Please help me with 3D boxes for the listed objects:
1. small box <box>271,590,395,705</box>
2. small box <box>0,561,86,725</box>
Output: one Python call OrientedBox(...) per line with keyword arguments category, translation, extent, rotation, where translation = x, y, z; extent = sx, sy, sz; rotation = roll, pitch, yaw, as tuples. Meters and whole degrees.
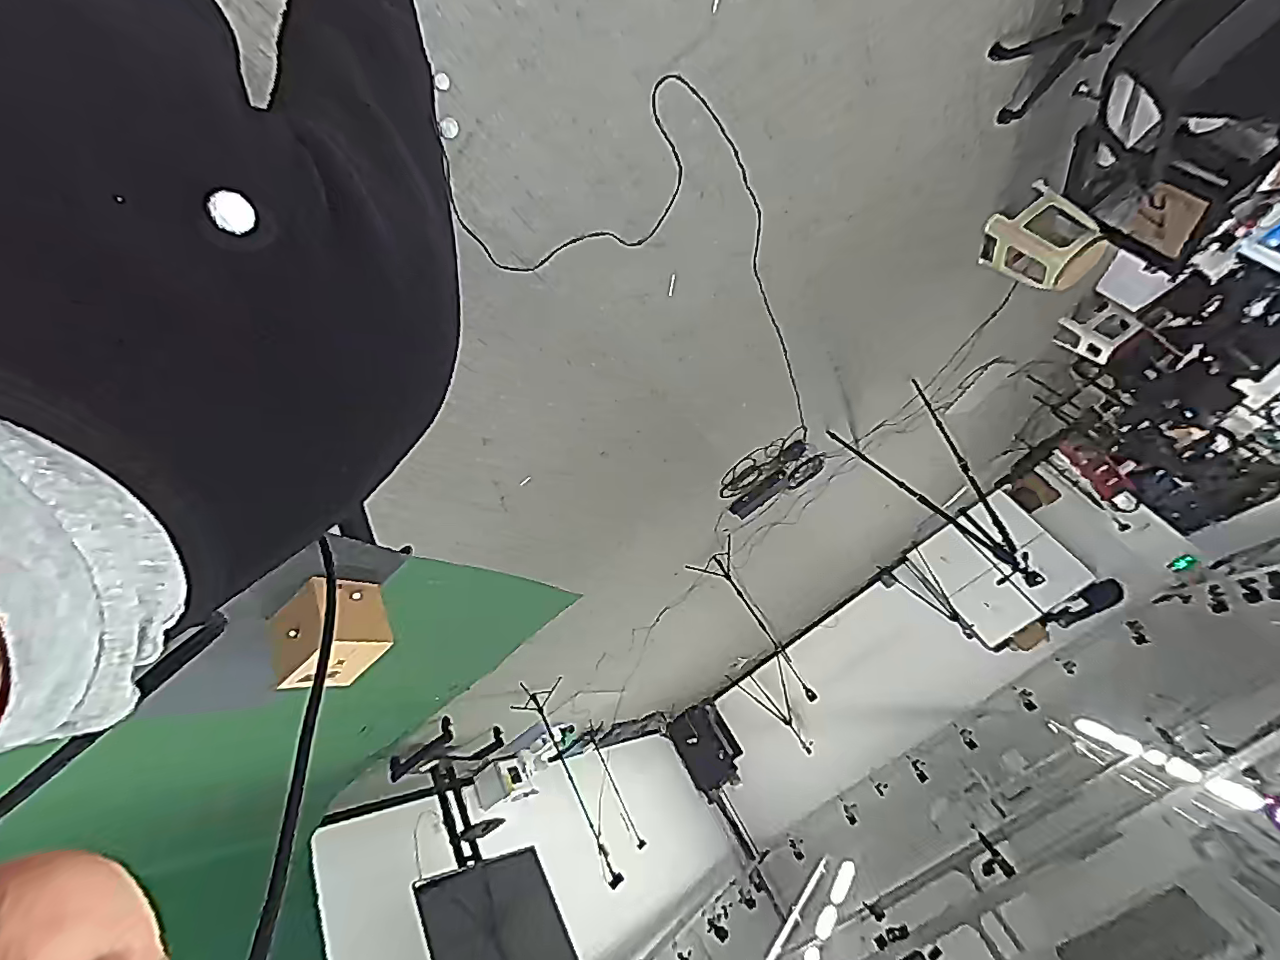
OrientedBox(category="small box", translation=(-0.685, 0.371, 1.200), extent=(0.179, 0.176, 0.168), rotation=(-43, 149, 11))
OrientedBox(category="small box", translation=(-0.932, 0.227, 0.762), extent=(0.179, 0.176, 0.168), rotation=(-41, 148, 13))
